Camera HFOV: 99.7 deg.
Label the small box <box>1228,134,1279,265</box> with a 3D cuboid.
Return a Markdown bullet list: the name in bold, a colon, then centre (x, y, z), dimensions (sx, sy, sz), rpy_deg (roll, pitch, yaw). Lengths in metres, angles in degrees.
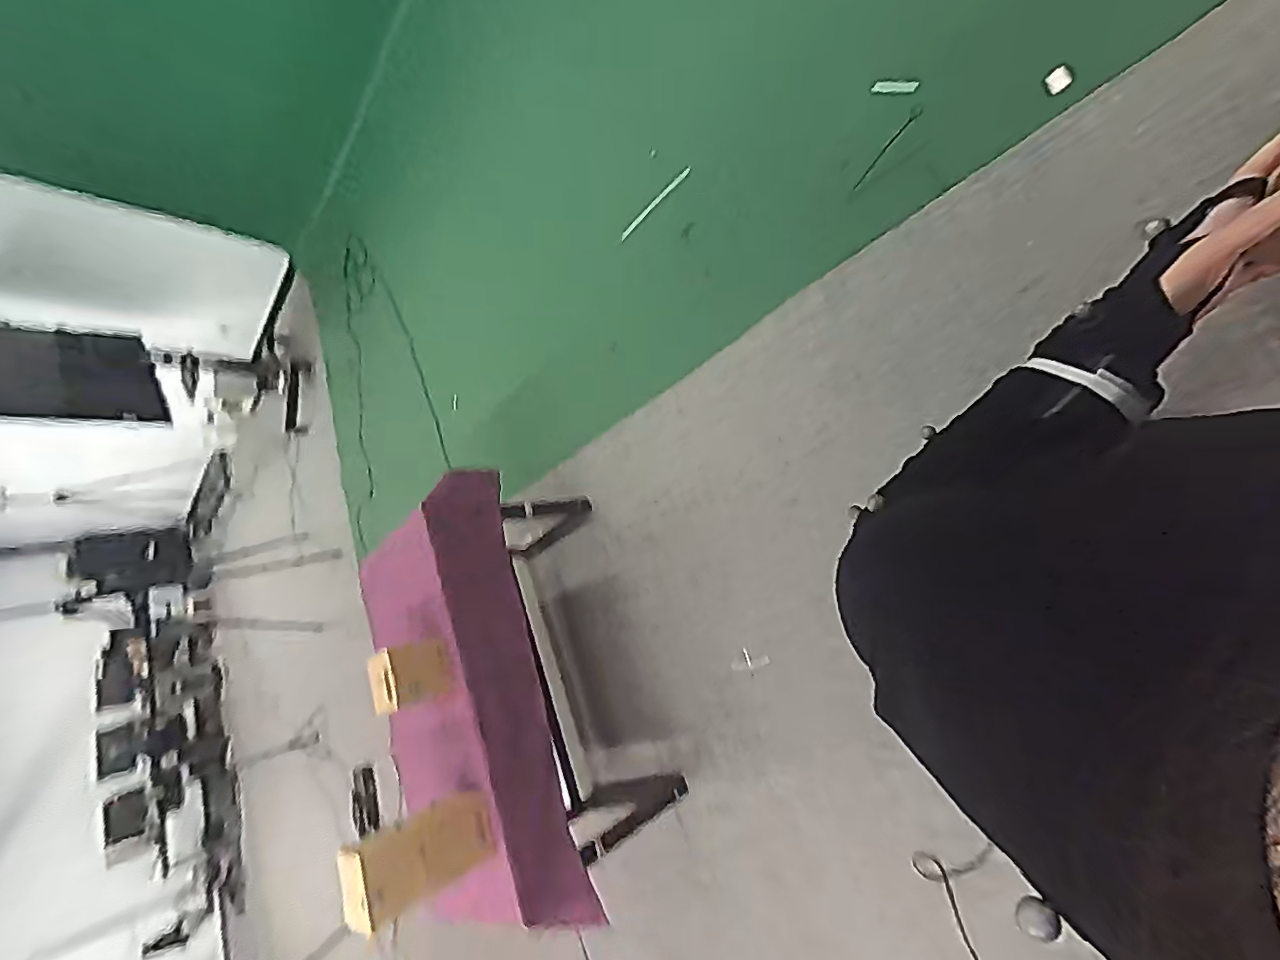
- **small box**: centre (0.472, -0.214, 0.264), dimensions (0.168, 0.179, 0.176), rpy_deg (22, 89, 25)

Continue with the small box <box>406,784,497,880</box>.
- **small box**: centre (-0.524, 0.968, 1.504), dimensions (0.179, 0.176, 0.168), rpy_deg (-27, 74, 39)

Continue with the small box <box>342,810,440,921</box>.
- **small box**: centre (-0.636, 0.972, 1.382), dimensions (0.179, 0.176, 0.168), rpy_deg (-28, 74, 41)
